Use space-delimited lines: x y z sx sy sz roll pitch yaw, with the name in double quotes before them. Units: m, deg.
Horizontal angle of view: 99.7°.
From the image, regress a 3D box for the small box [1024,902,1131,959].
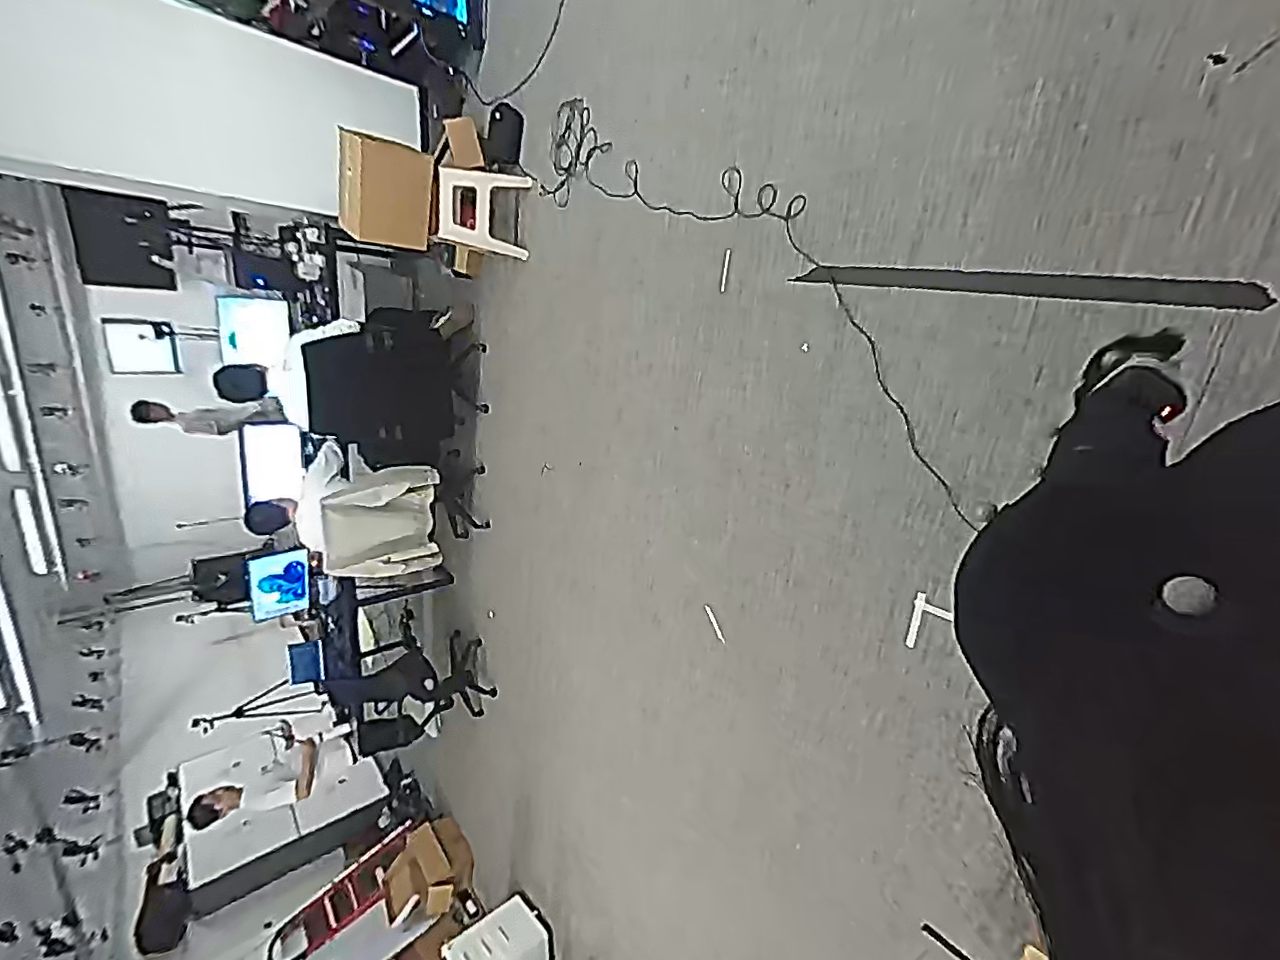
"small box" 1.048 1.190 1.305 0.168 0.176 0.179 26 116 43
